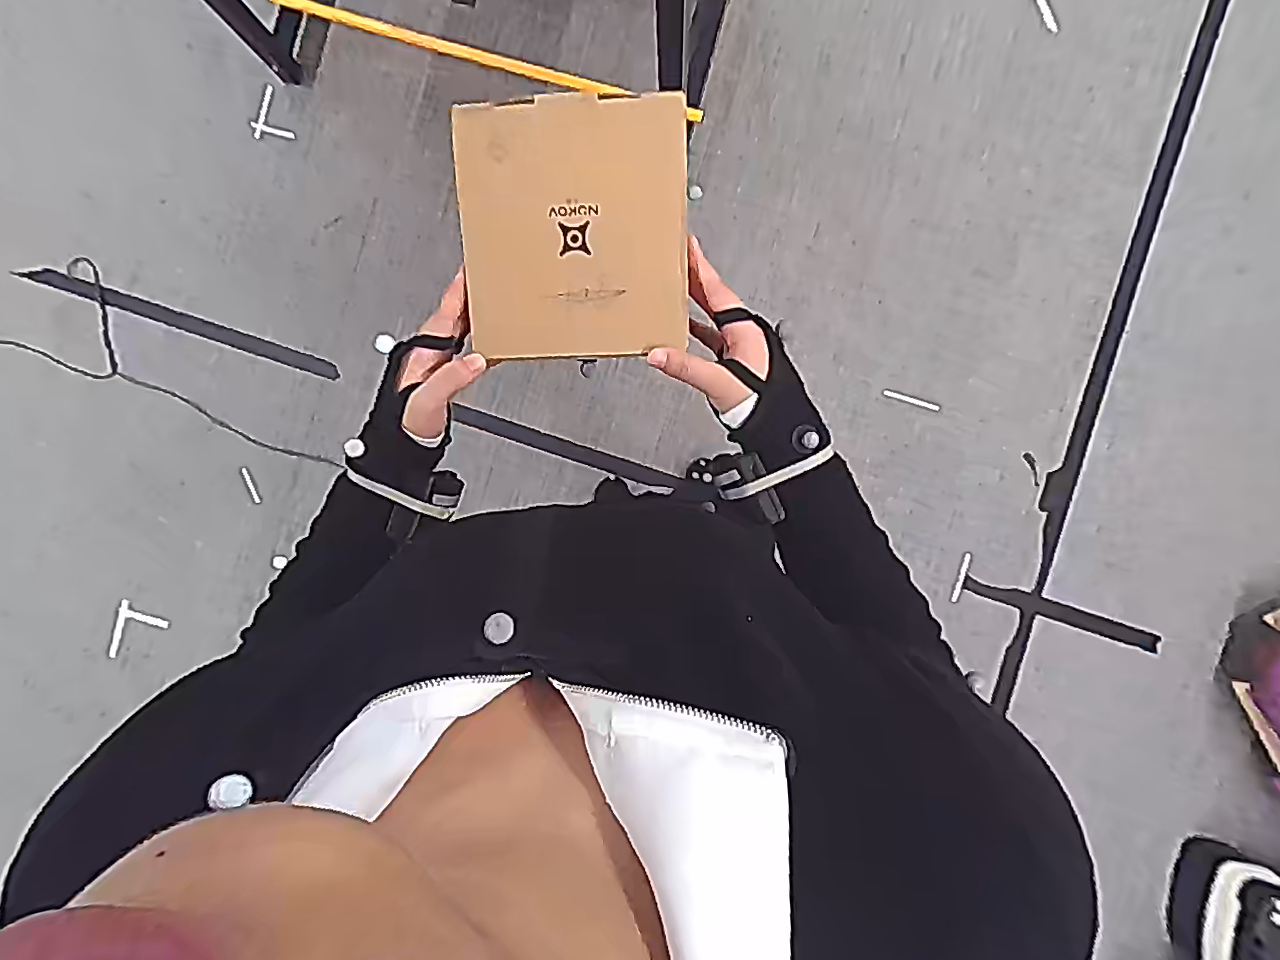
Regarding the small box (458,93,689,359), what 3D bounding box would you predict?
[{"bbox_3d":[-0.044,-0.200,0.474,0.168,0.176,0.179,-1,102,3],"label":"small box"}]
